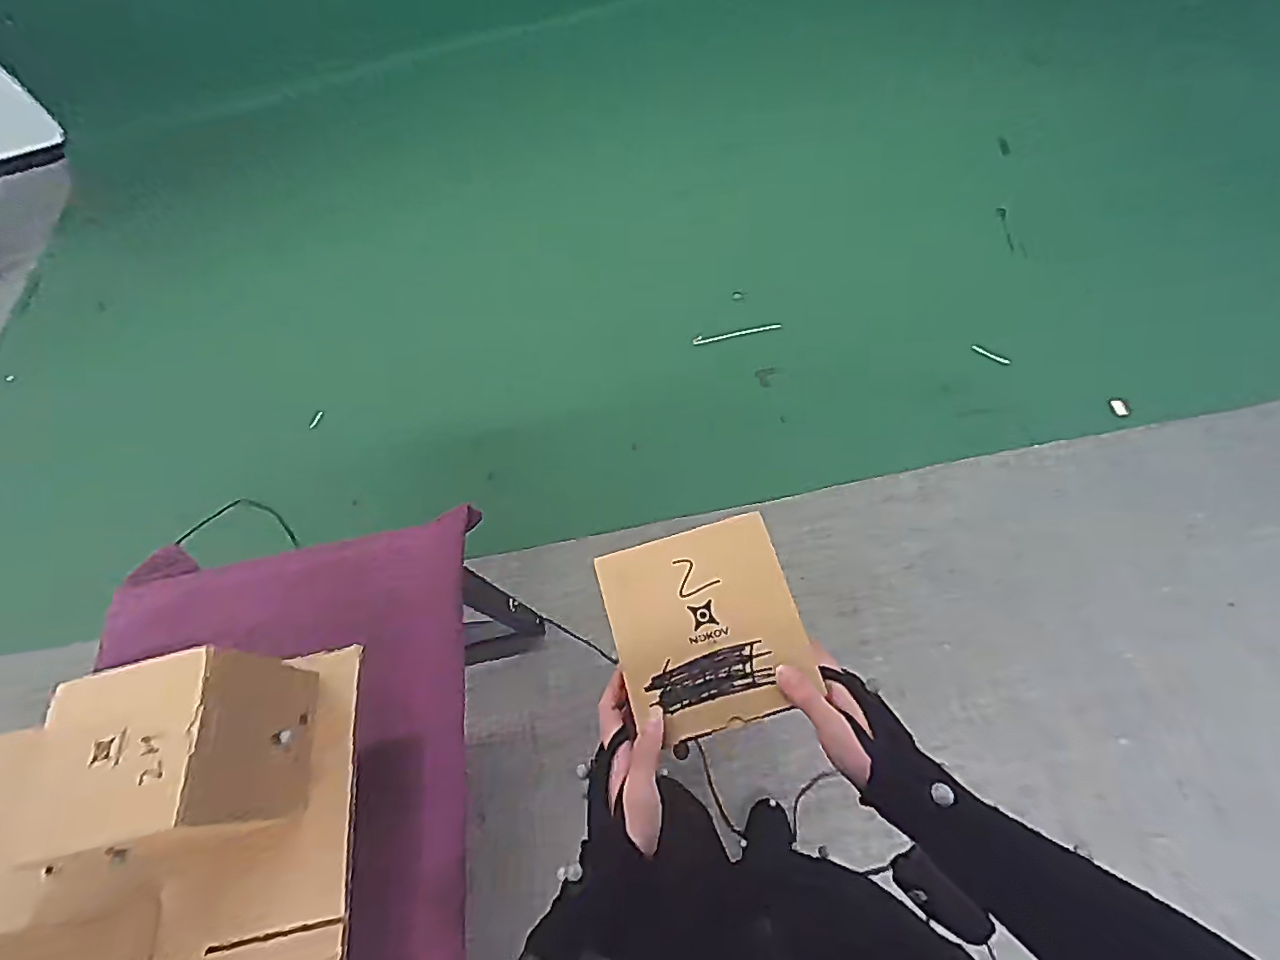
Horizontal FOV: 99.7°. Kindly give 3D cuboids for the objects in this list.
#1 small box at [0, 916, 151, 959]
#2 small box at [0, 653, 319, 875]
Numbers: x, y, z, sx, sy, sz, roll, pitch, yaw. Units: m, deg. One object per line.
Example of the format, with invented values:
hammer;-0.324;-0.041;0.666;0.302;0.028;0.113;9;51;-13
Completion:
small box;-0.605;0.522;0.483;0.179;0.176;0.168;-15;58;2
small box;-0.493;0.305;0.587;0.179;0.176;0.168;-14;60;2
